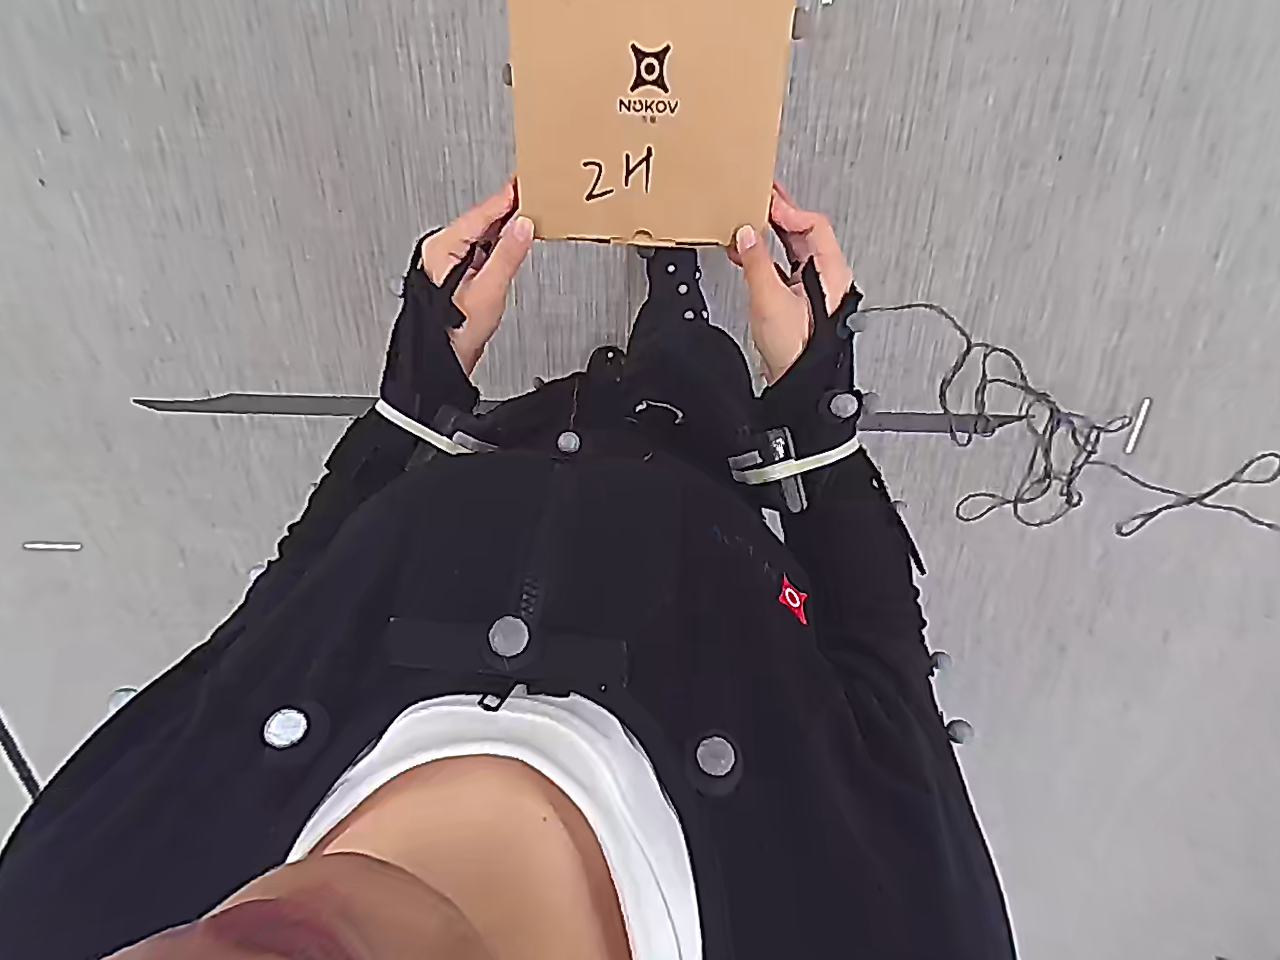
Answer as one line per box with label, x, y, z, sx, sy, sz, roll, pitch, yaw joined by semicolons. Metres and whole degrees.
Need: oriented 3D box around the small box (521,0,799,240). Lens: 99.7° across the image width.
small box;0.012;-0.278;0.402;0.168;0.176;0.179;3;116;2
